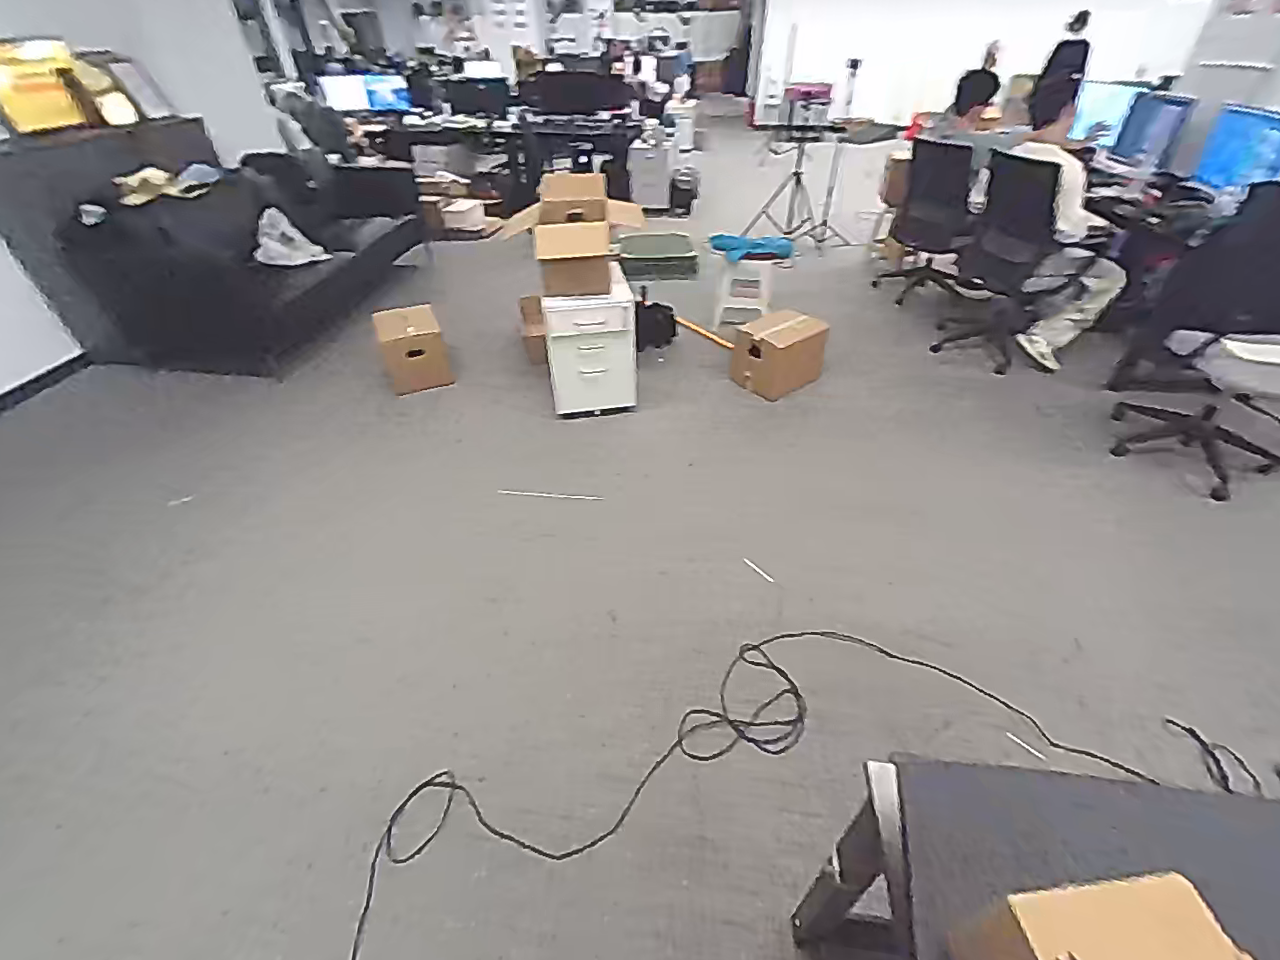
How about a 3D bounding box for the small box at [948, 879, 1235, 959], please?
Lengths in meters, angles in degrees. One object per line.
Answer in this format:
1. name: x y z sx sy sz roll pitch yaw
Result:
1. small box: 0.427 0.491 0.493 0.179 0.176 0.168 -4 39 -4
